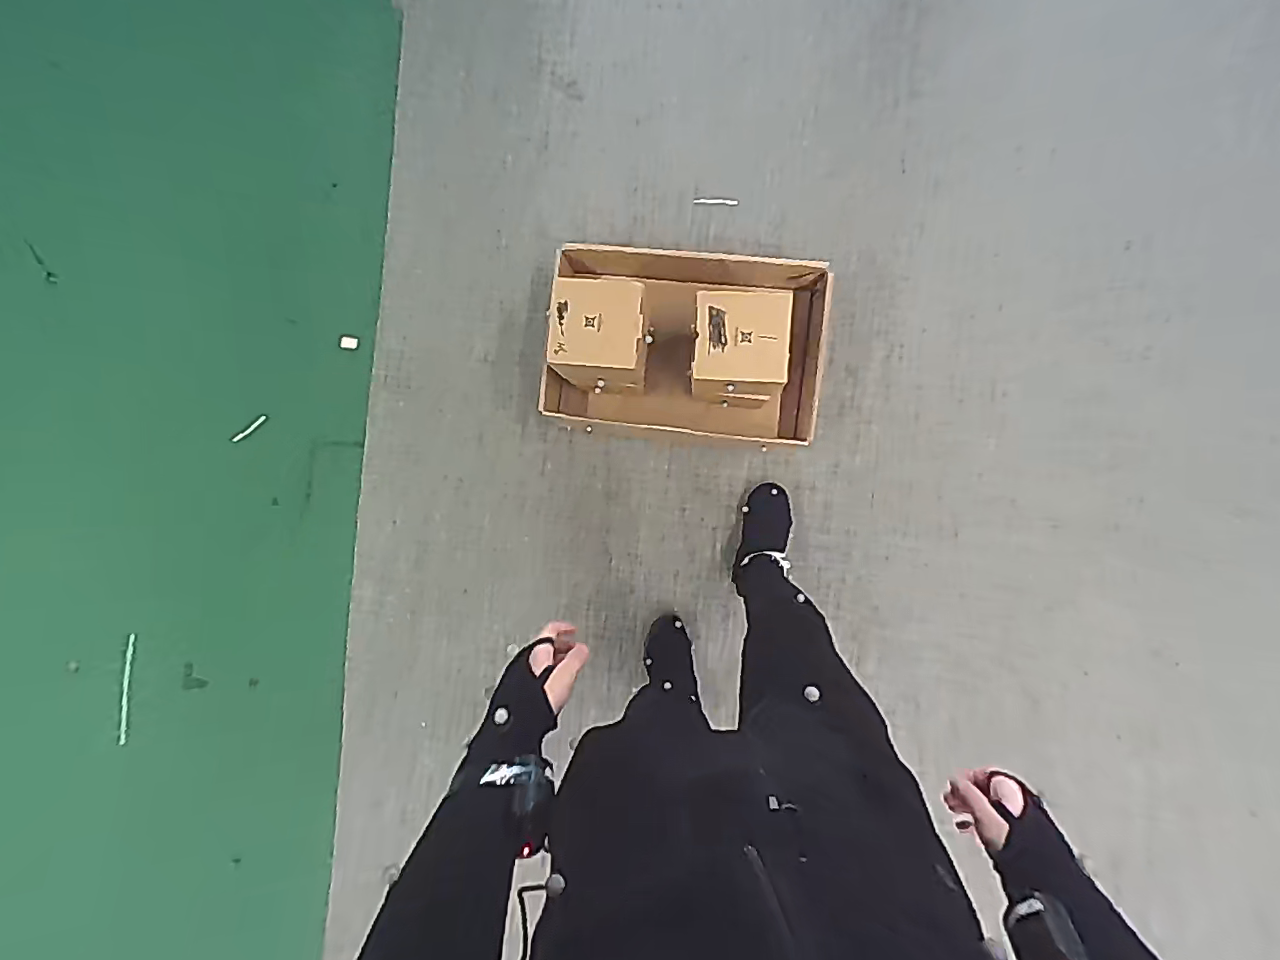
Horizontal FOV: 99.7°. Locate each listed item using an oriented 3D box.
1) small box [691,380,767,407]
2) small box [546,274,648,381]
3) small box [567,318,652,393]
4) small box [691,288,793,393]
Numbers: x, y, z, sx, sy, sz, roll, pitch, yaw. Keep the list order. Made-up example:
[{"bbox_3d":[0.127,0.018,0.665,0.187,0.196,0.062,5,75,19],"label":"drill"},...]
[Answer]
[{"bbox_3d":[0.213,-0.269,1.237,0.168,0.176,0.179,9,91,6],"label":"small box"},{"bbox_3d":[-0.078,-0.301,1.100,0.179,0.176,0.168,6,90,4],"label":"small box"},{"bbox_3d":[-0.064,-0.305,1.264,0.168,0.176,0.179,7,90,5],"label":"small box"},{"bbox_3d":[0.195,-0.269,1.072,0.179,0.176,0.168,4,91,5],"label":"small box"}]
